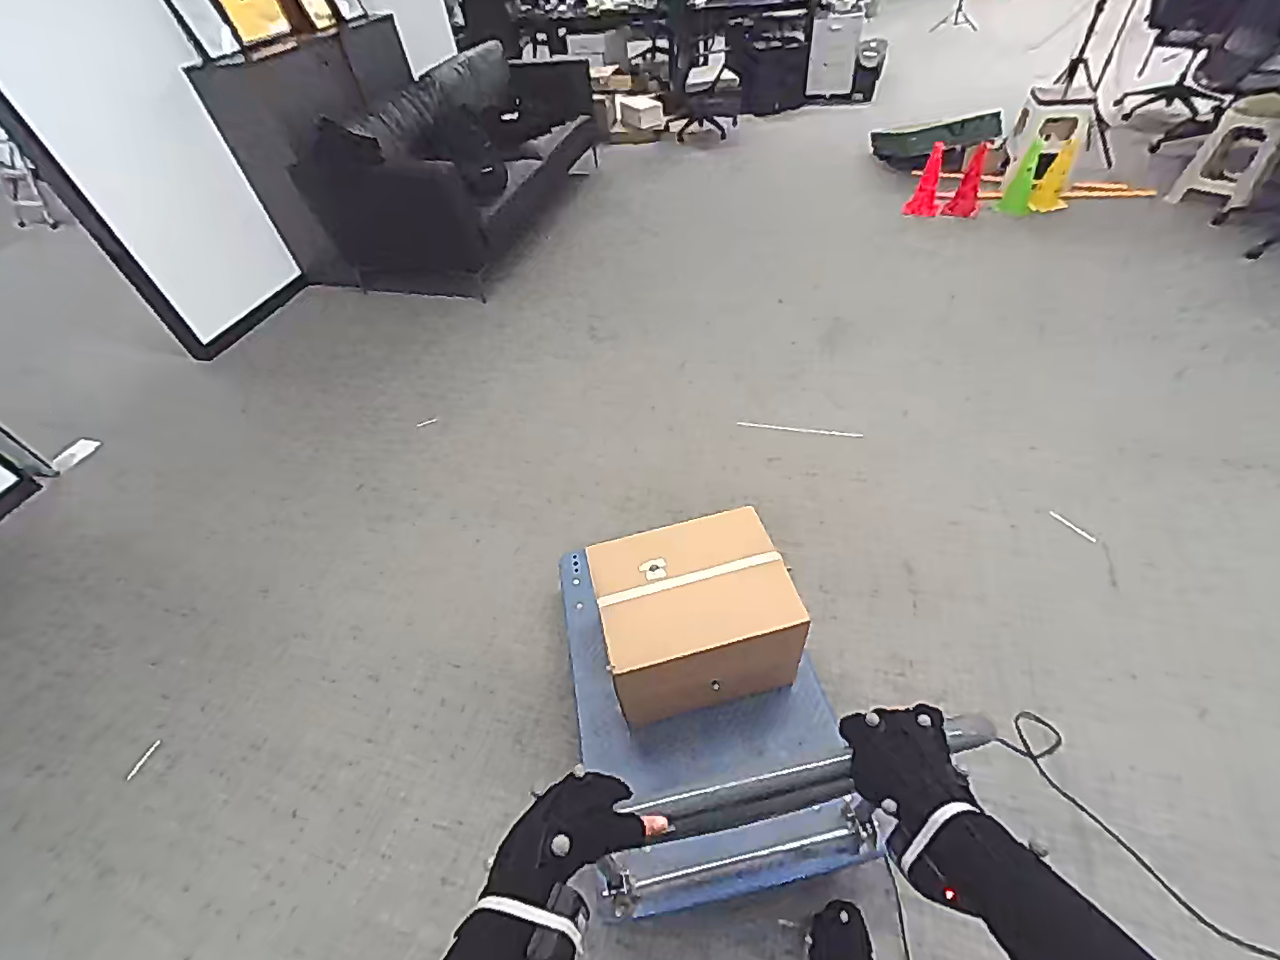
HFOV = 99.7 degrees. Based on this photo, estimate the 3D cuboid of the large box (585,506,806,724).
[{"bbox_3d":[0.119,0.315,1.258,0.408,0.320,0.320,-15,47,-6],"label":"large box"}]
